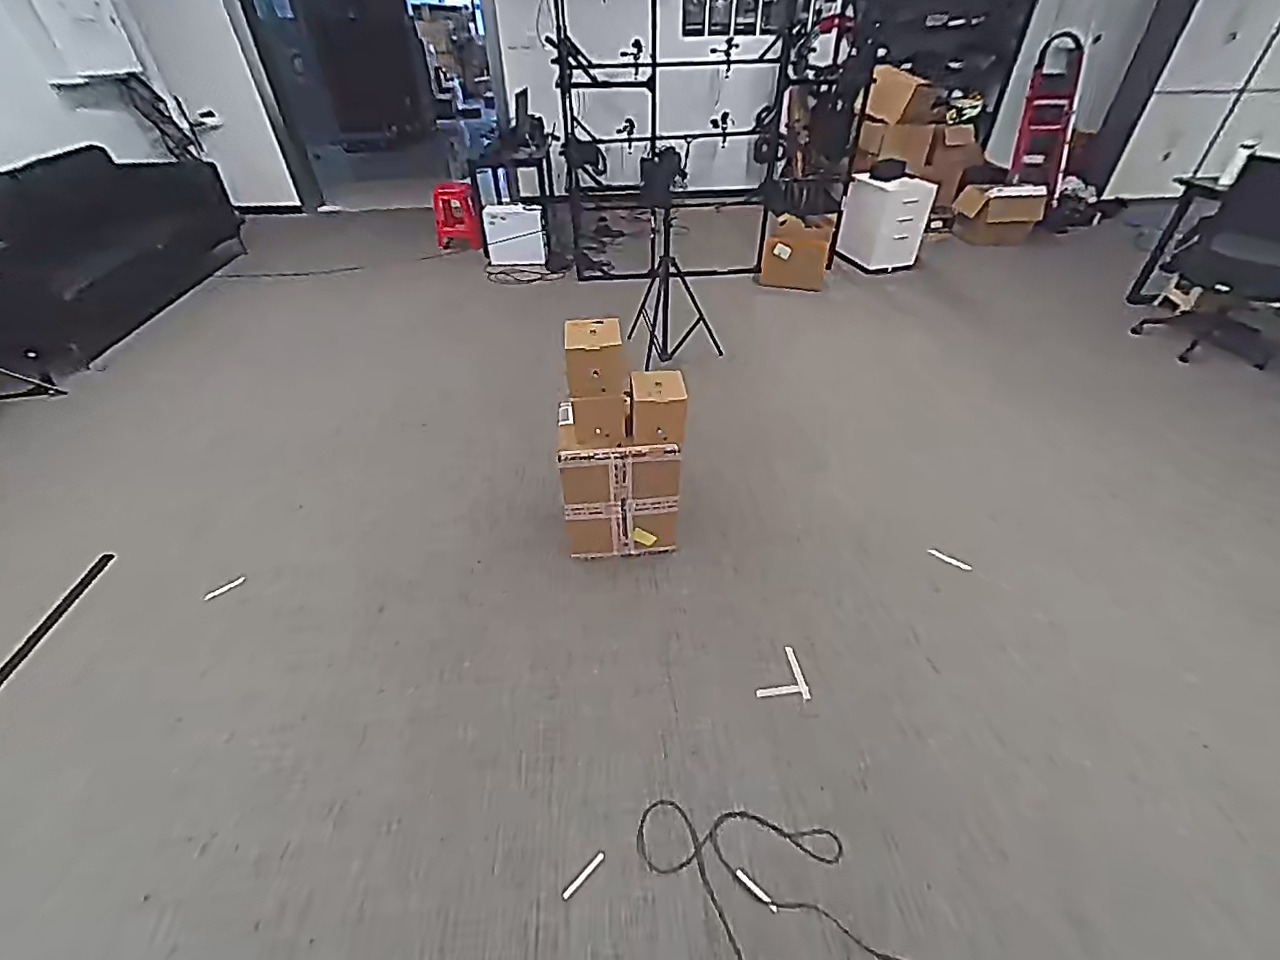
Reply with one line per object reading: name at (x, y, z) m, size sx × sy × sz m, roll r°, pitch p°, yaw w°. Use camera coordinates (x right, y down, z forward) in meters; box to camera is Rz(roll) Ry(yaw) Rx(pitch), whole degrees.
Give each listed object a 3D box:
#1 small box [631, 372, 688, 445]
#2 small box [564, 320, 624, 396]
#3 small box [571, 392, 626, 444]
small box at (0.057, -0.232, 1.747) m, size 0.168 × 0.176 × 0.179 m, roll -3°, pitch 42°, yaw -4°
small box at (-0.138, -0.368, 1.657) m, size 0.168 × 0.176 × 0.179 m, roll -5°, pitch 44°, yaw -3°
small box at (-0.137, -0.239, 1.758) m, size 0.168 × 0.176 × 0.179 m, roll -6°, pitch 44°, yaw -4°
